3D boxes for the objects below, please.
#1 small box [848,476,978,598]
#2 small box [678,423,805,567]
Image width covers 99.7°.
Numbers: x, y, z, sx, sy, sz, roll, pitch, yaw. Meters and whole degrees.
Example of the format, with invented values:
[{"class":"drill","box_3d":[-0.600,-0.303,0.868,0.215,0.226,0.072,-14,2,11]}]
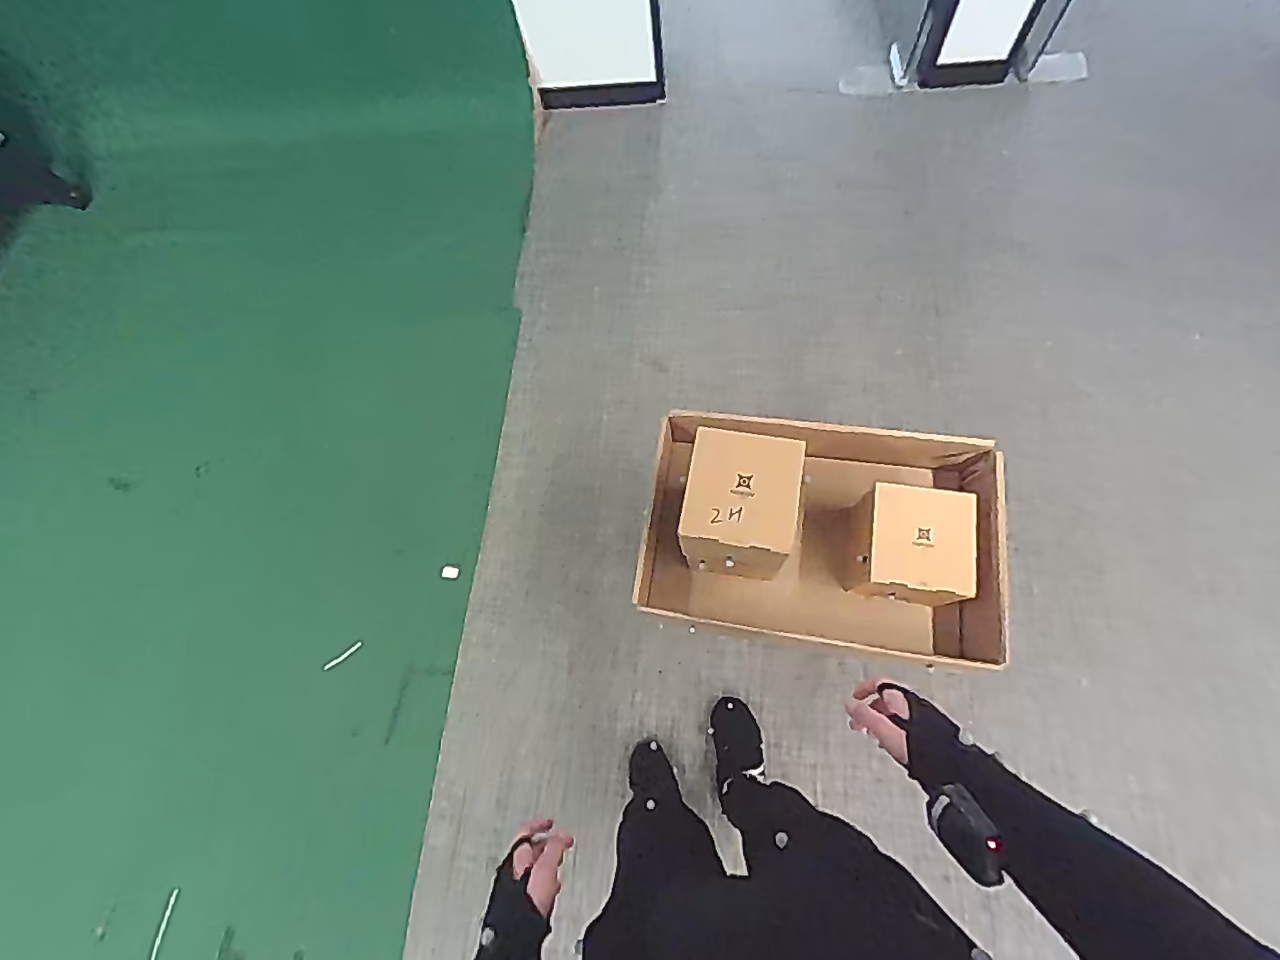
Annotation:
[{"class":"small box","box_3d":[0.483,0.108,0.975,0.168,0.176,0.179,7,75,9]},{"class":"small box","box_3d":[0.160,0.030,0.868,0.168,0.176,0.179,9,74,11]}]
